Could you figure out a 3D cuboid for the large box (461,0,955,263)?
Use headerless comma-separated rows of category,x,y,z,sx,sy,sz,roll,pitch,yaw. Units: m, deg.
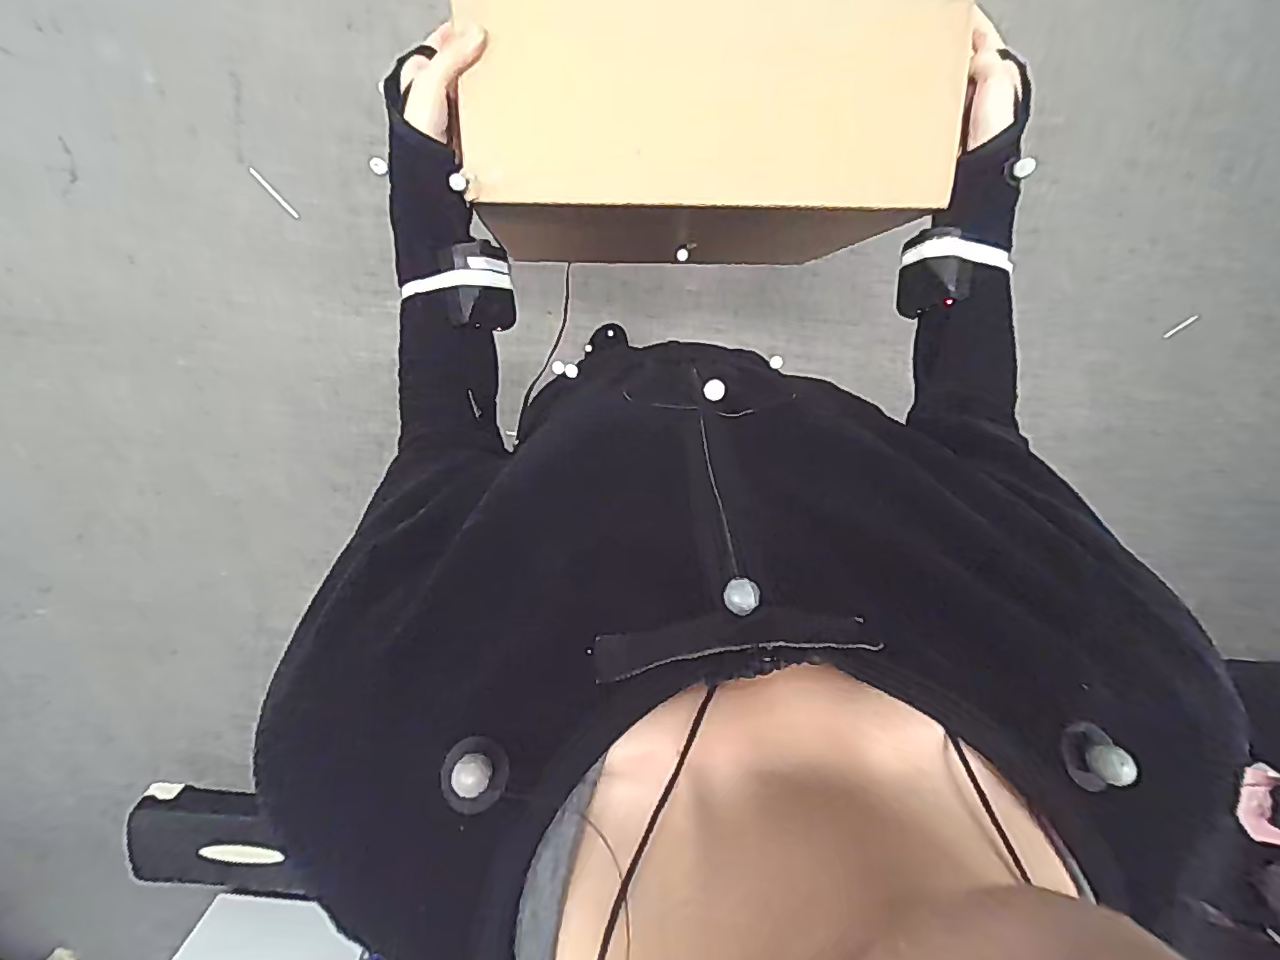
large box,0.049,-0.413,0.569,0.408,0.320,0.320,-2,103,-5
